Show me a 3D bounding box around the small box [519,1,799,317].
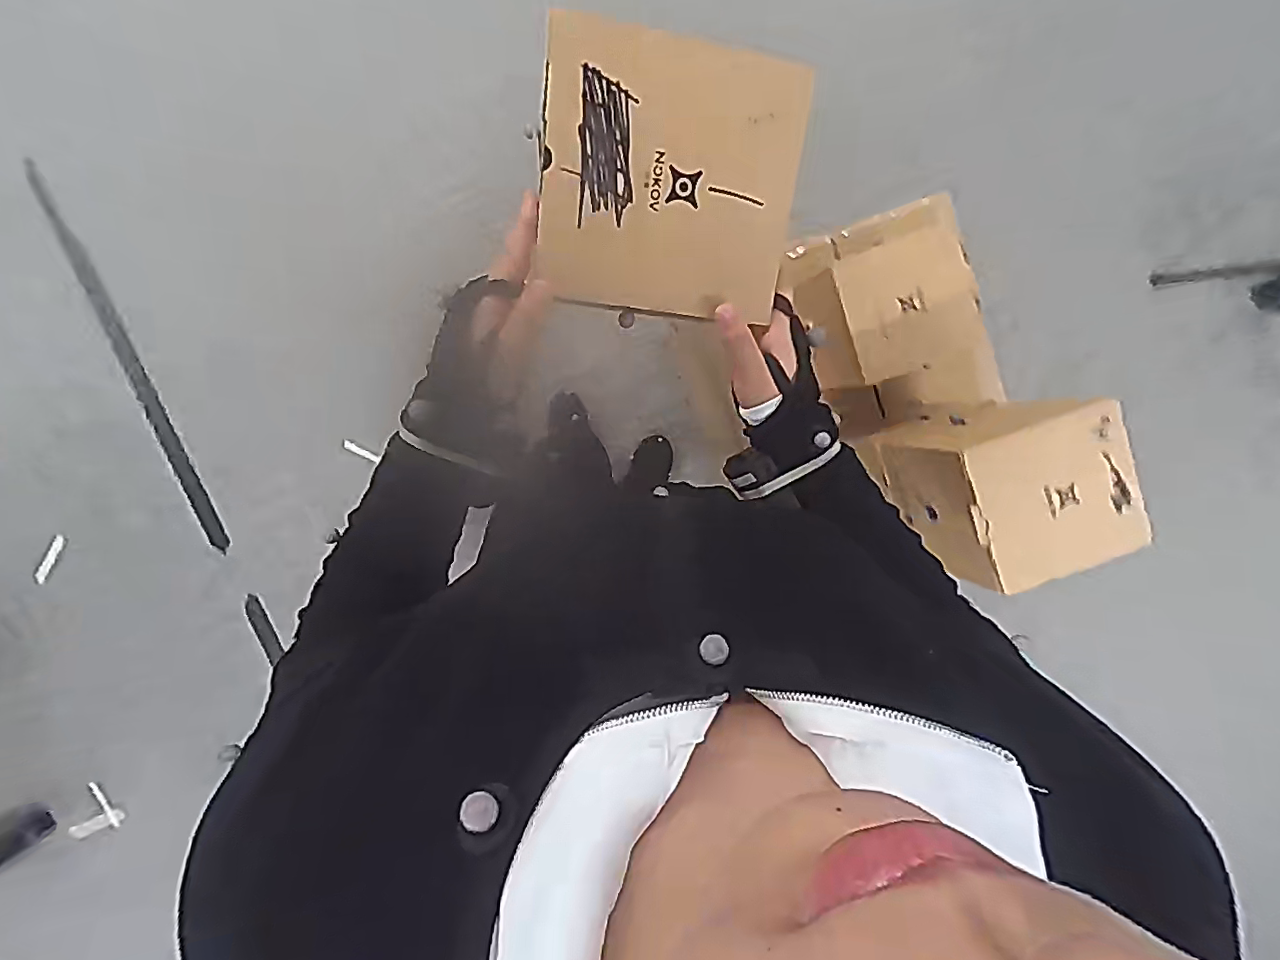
[{"bbox_3d":[-0.003,-0.225,0.434,0.179,0.176,0.168,2,106,-13],"label":"small box"}]

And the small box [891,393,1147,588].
[{"bbox_3d":[0.428,0.007,0.646,0.179,0.176,0.168,-19,95,-1],"label":"small box"}]

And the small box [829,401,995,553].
[{"bbox_3d":[0.414,-0.011,0.808,0.179,0.176,0.168,-20,95,-1],"label":"small box"}]

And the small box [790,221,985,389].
[{"bbox_3d":[0.344,-0.239,0.781,0.179,0.176,0.168,-21,97,0],"label":"small box"}]
